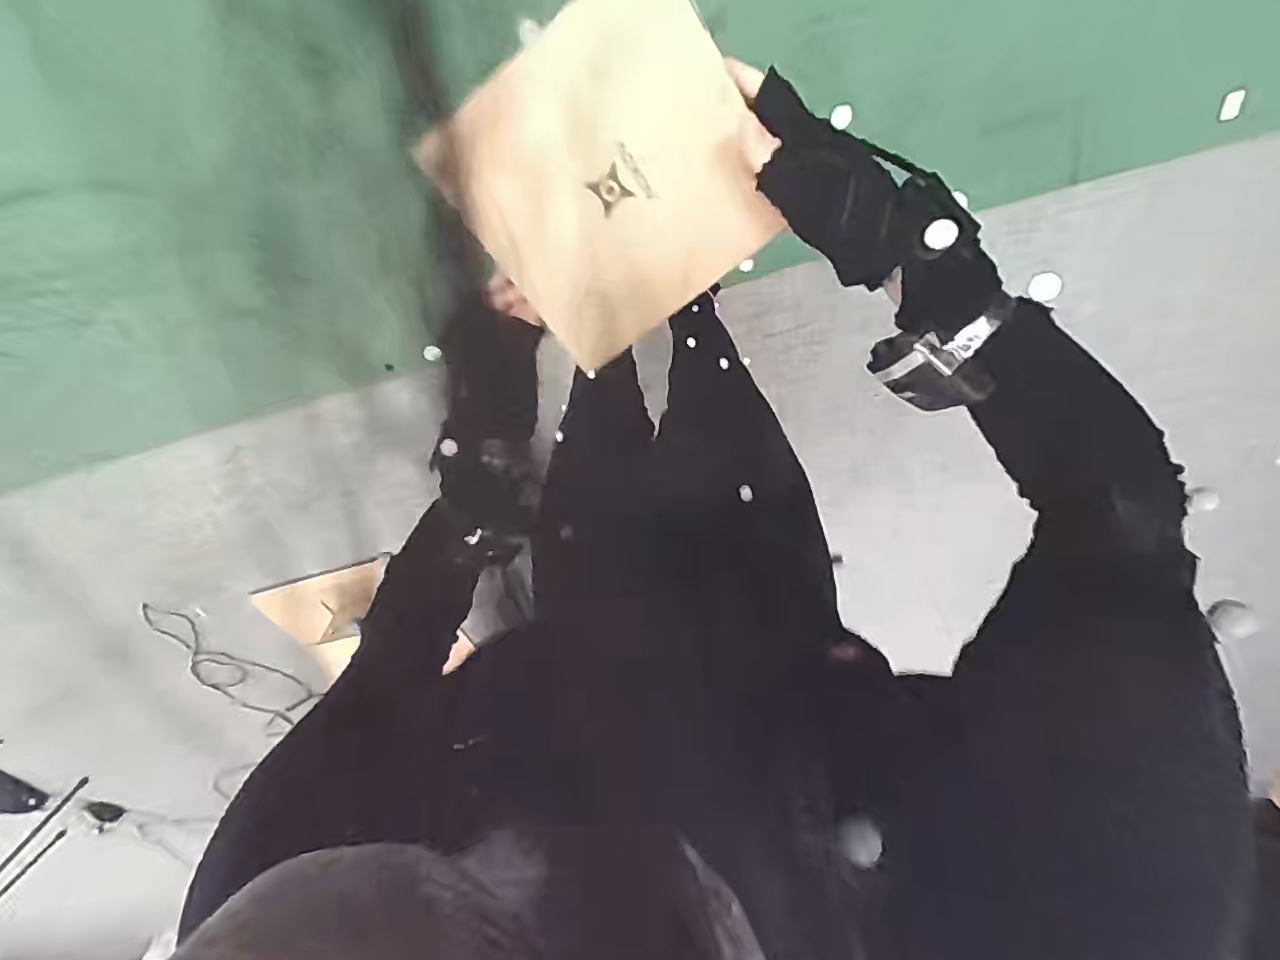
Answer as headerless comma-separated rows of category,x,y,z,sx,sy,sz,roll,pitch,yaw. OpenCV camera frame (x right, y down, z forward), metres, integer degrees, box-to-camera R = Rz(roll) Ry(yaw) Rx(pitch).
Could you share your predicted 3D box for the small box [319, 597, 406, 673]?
small box,-0.939,0.527,1.850,0.179,0.176,0.168,-16,126,11
